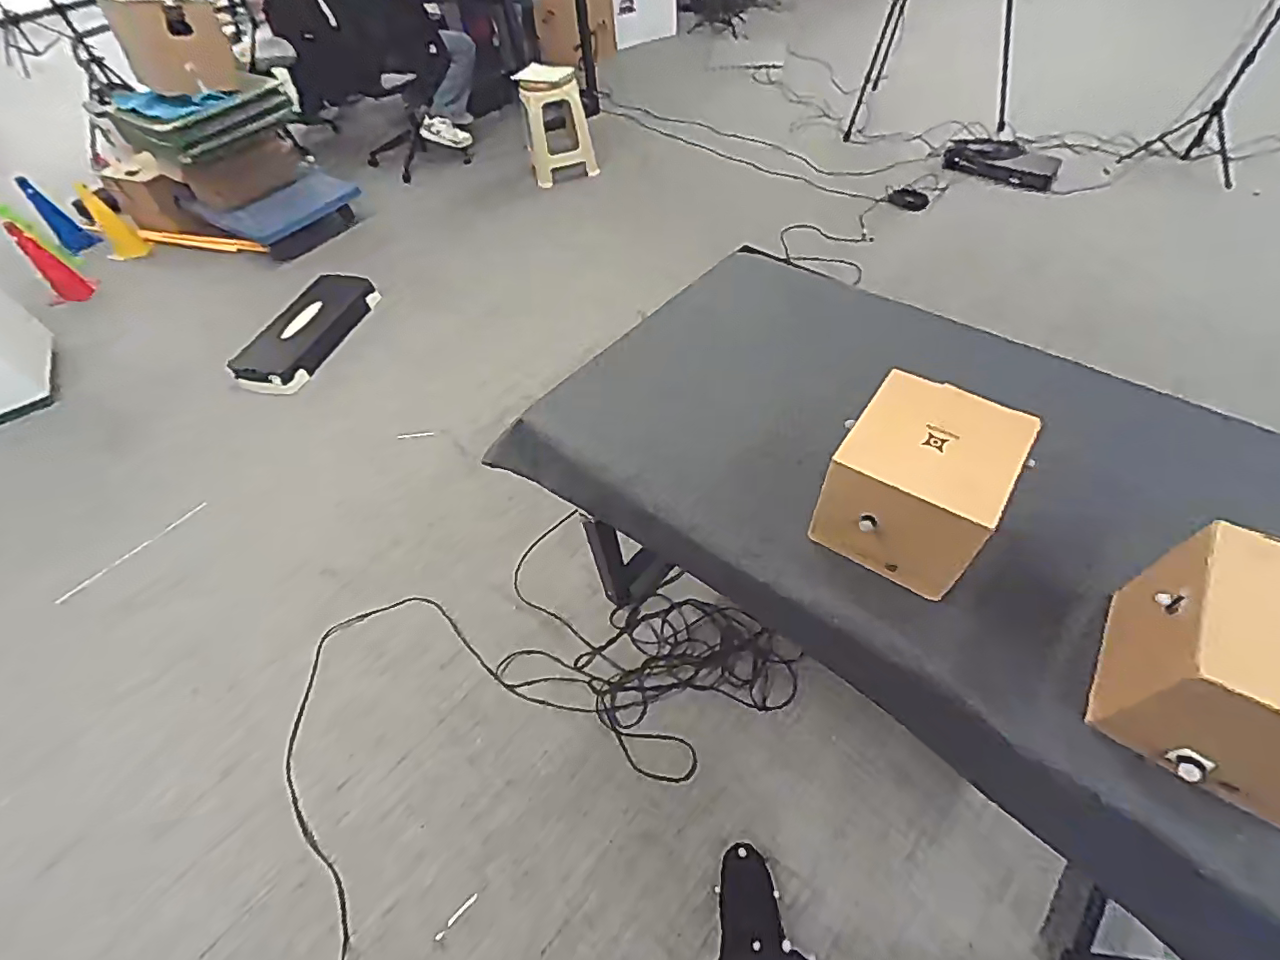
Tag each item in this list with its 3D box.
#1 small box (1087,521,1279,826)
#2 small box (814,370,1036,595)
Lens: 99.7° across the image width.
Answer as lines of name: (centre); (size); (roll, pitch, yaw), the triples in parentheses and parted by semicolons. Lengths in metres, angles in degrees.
small box: (0.555, 0.176, 0.493); (0.168, 0.176, 0.179); (26, 60, 25)
small box: (0.324, 0.006, 0.647); (0.168, 0.176, 0.179); (28, 59, 24)
